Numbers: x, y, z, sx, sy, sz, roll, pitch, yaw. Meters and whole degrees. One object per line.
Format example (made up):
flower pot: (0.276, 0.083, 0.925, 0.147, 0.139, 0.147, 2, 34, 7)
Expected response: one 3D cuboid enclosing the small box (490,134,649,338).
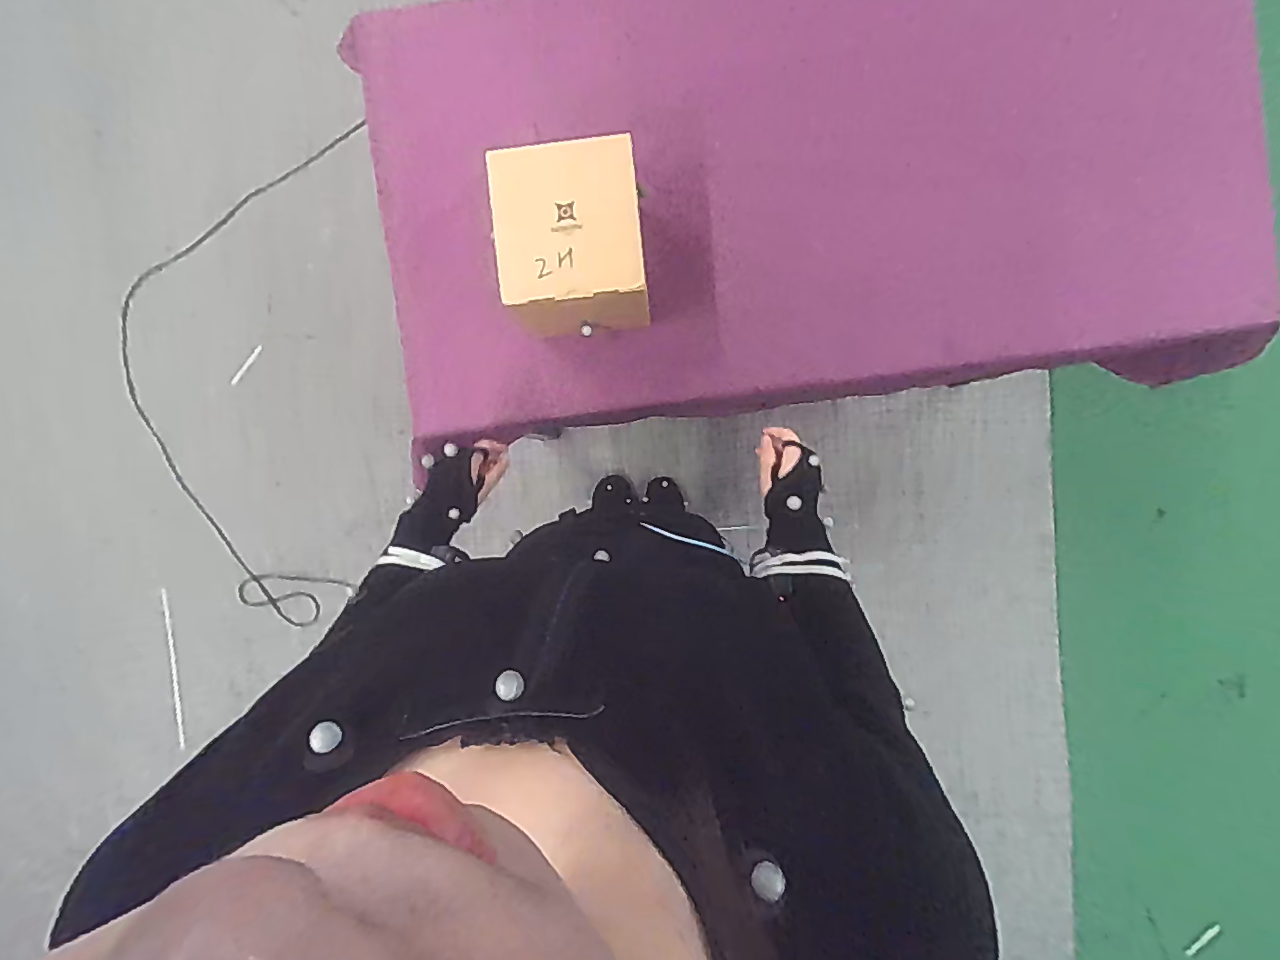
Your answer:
small box: (-0.078, -0.293, 0.684, 0.168, 0.176, 0.179, -6, 91, 3)
